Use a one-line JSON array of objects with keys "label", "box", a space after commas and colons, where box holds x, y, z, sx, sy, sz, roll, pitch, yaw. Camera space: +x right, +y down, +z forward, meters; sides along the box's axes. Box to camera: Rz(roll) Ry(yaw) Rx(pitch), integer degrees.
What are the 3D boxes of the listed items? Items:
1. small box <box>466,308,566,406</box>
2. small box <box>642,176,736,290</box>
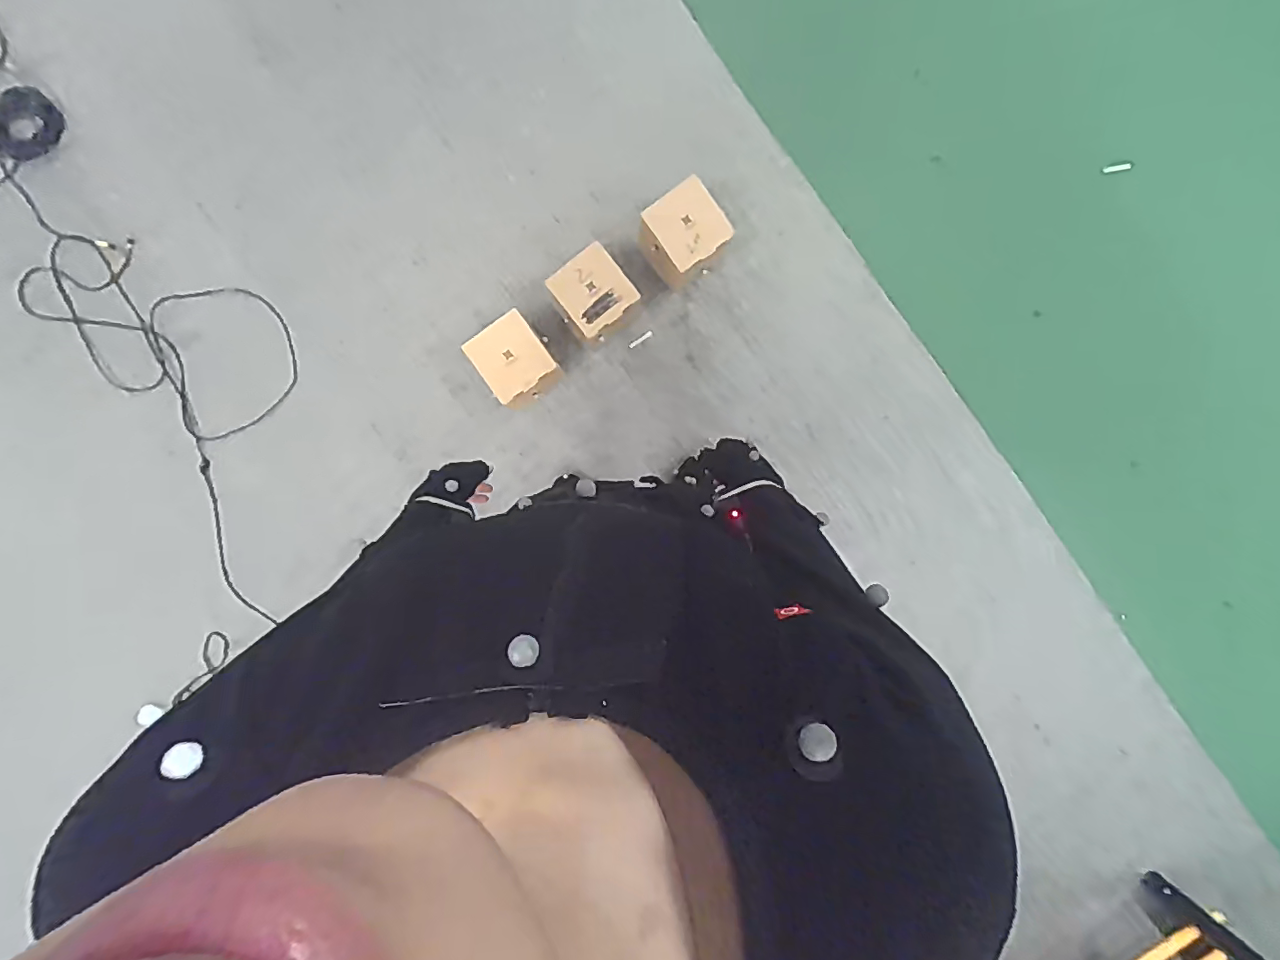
[{"label": "small box", "box": [-0.311, -0.307, 1.391, 0.168, 0.176, 0.179, -36, 93, 2]}, {"label": "small box", "box": [0.116, -0.619, 1.380, 0.168, 0.176, 0.179, -36, 94, 2]}]
